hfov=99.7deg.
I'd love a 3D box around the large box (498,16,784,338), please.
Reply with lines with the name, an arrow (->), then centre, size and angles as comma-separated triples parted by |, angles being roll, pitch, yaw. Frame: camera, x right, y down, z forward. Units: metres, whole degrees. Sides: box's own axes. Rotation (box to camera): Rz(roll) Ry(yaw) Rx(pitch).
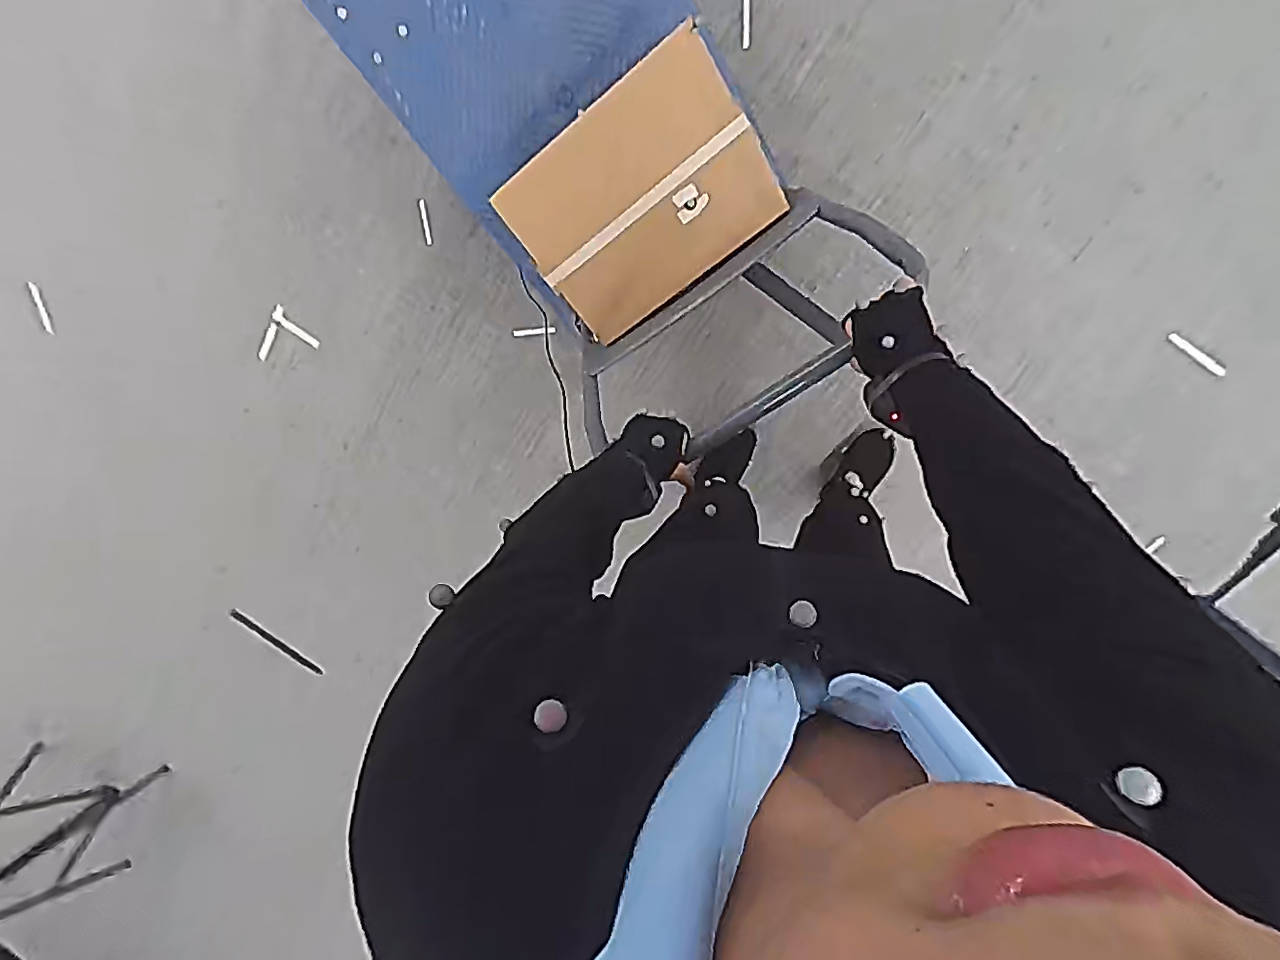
large box -> -0.006, -0.552, 1.044 | 0.408, 0.320, 0.320 | -34, 118, 15
